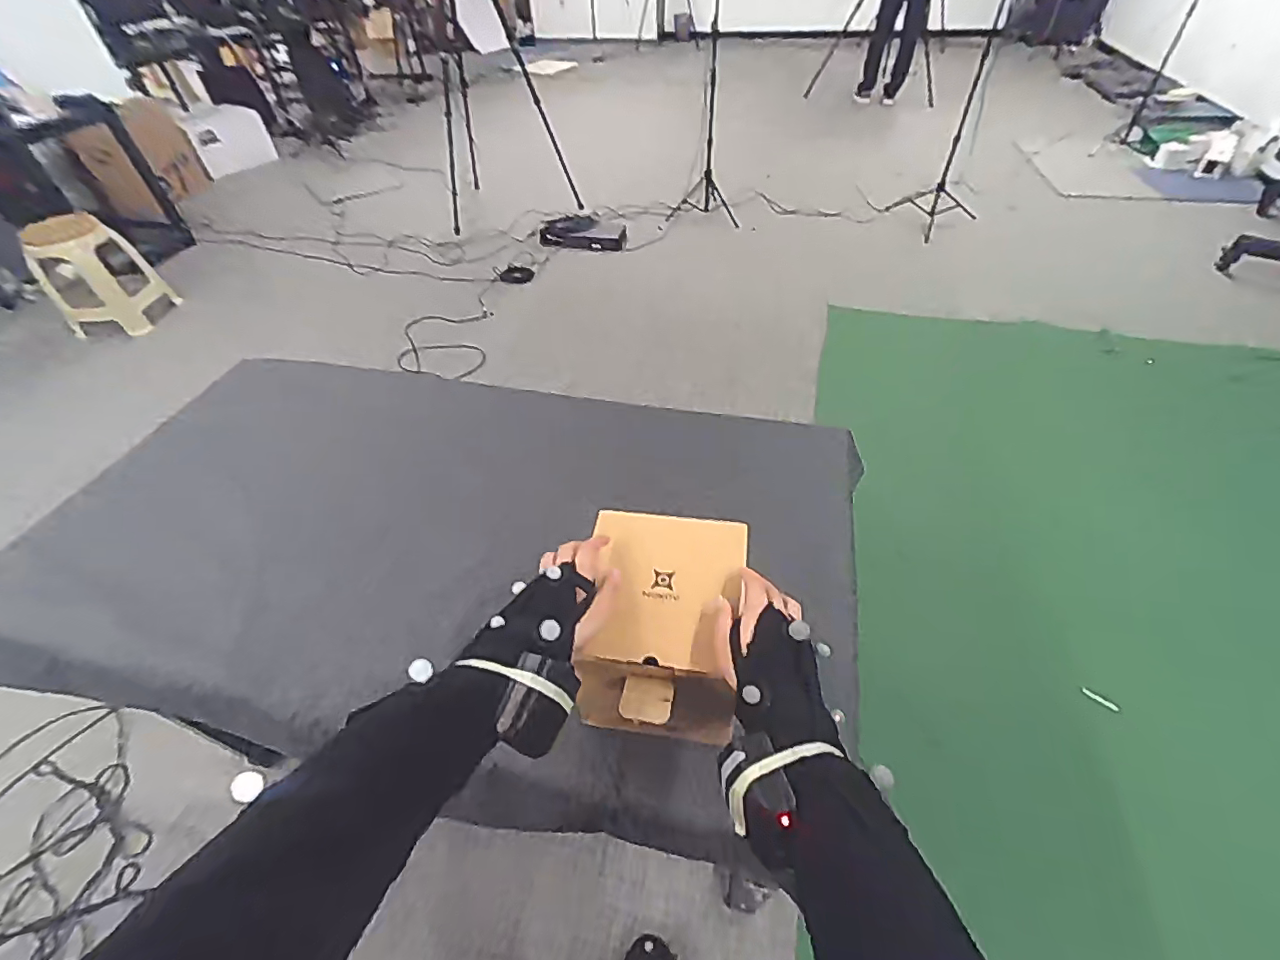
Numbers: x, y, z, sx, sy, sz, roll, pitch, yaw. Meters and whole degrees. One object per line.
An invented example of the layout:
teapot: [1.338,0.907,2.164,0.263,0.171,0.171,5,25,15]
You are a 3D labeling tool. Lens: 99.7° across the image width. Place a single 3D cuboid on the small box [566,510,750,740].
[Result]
small box: [0.027,0.158,0.595,0.168,0.176,0.179,5,48,7]
